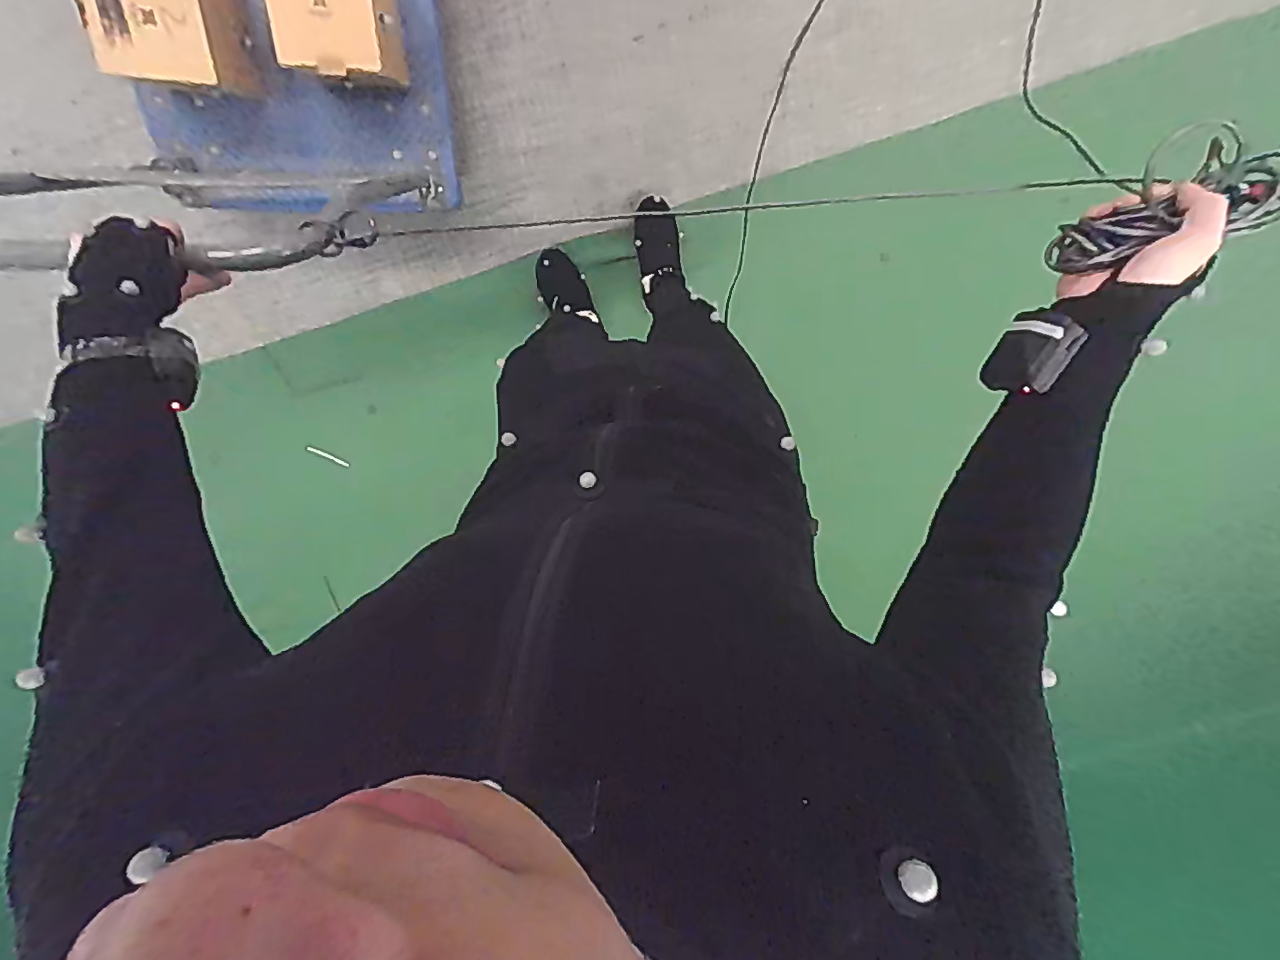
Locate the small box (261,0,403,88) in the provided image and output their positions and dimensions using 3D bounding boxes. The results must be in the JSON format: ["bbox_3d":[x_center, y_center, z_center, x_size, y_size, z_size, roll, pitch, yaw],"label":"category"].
[{"bbox_3d":[-0.524,-0.797,0.928,0.168,0.176,0.179,-1,120,-6],"label":"small box"}]
